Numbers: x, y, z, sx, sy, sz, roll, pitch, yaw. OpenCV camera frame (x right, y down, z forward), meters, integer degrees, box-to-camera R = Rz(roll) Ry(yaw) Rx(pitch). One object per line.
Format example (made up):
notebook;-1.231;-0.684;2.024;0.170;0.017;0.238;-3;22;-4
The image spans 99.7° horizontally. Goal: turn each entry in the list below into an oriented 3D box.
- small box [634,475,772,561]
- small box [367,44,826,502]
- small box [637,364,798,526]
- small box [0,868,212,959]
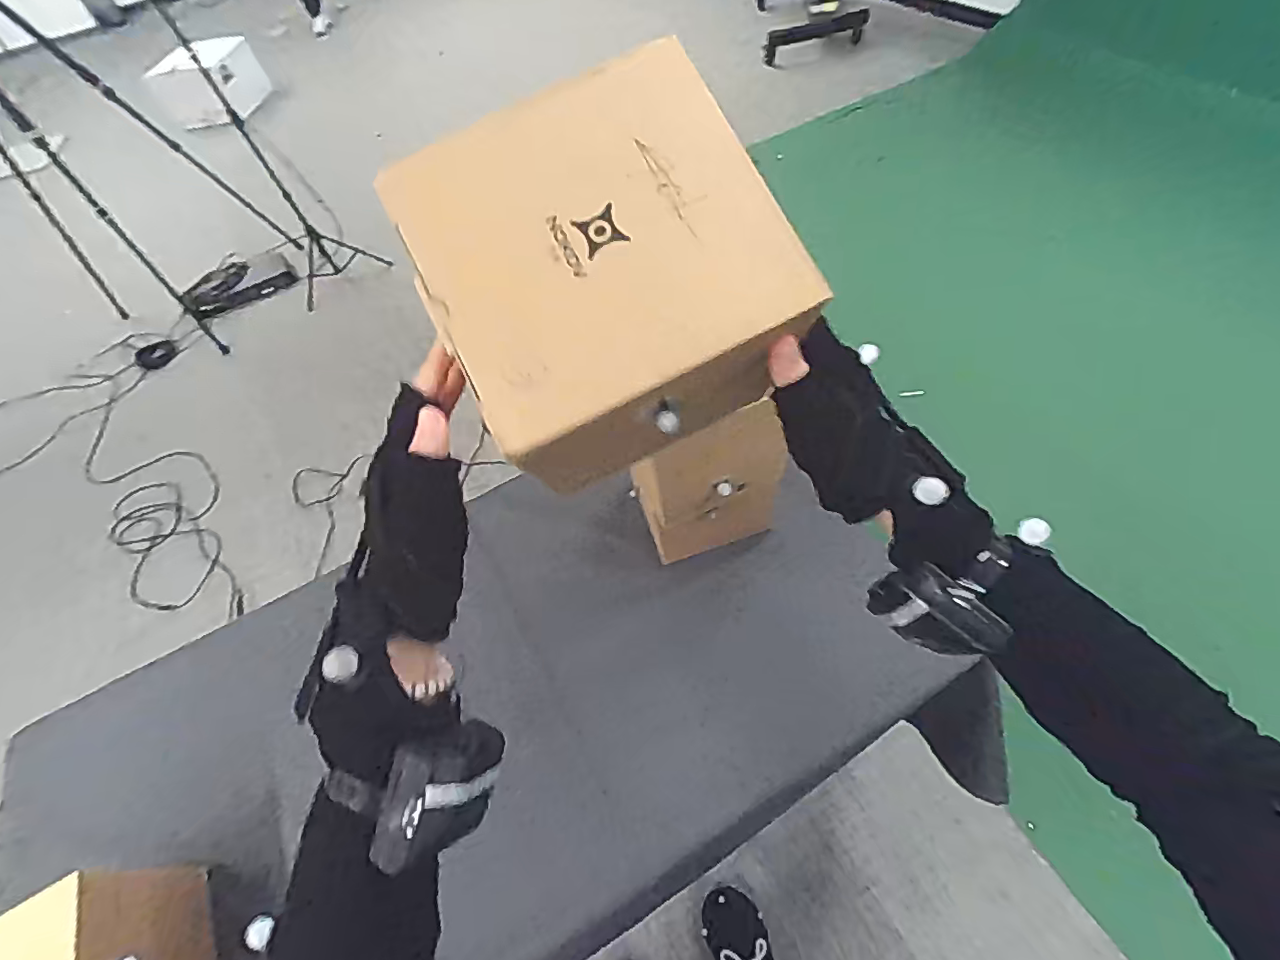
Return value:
small box;0.084;-0.004;0.786;0.179;0.176;0.168;-18;56;-3
small box;-0.021;-0.098;0.338;0.179;0.176;0.168;-28;82;-2
small box;0.062;-0.077;0.640;0.168;0.176;0.179;-24;57;-6
small box;-0.563;0.523;0.532;0.168;0.176;0.179;-30;57;-12
